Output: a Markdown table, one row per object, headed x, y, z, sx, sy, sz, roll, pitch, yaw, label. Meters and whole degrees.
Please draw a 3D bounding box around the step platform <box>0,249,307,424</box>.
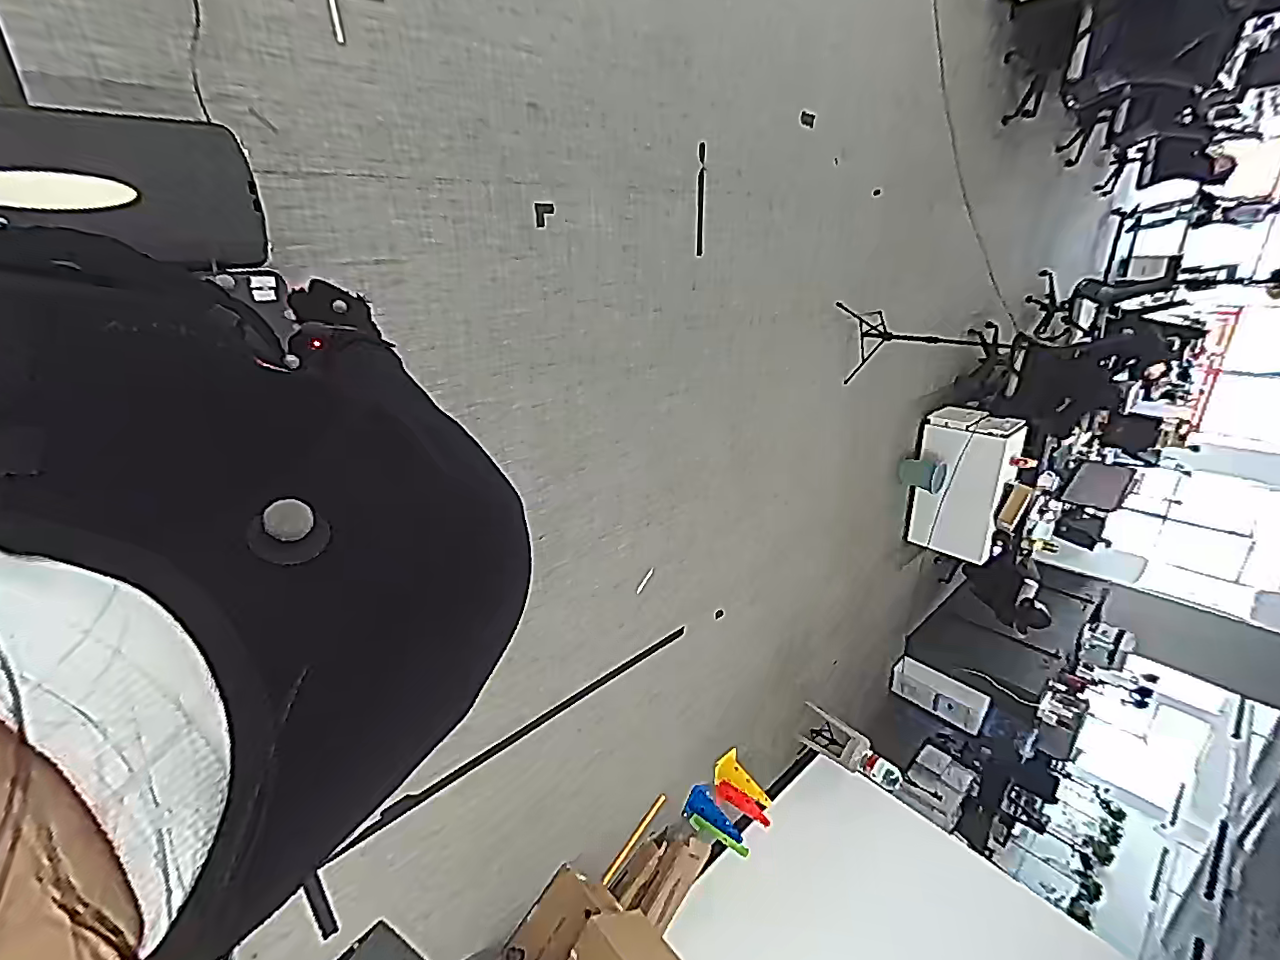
| x | y | z | sx | sy | sz | roll | pitch | yaw | label |
| --- | --- | --- | --- | --- | --- | --- | --- | --- | --- |
| -1.076 | -0.299 | 1.089 | 0.684 | 0.204 | 0.286 | -21 | 118 | -35 | step platform |
